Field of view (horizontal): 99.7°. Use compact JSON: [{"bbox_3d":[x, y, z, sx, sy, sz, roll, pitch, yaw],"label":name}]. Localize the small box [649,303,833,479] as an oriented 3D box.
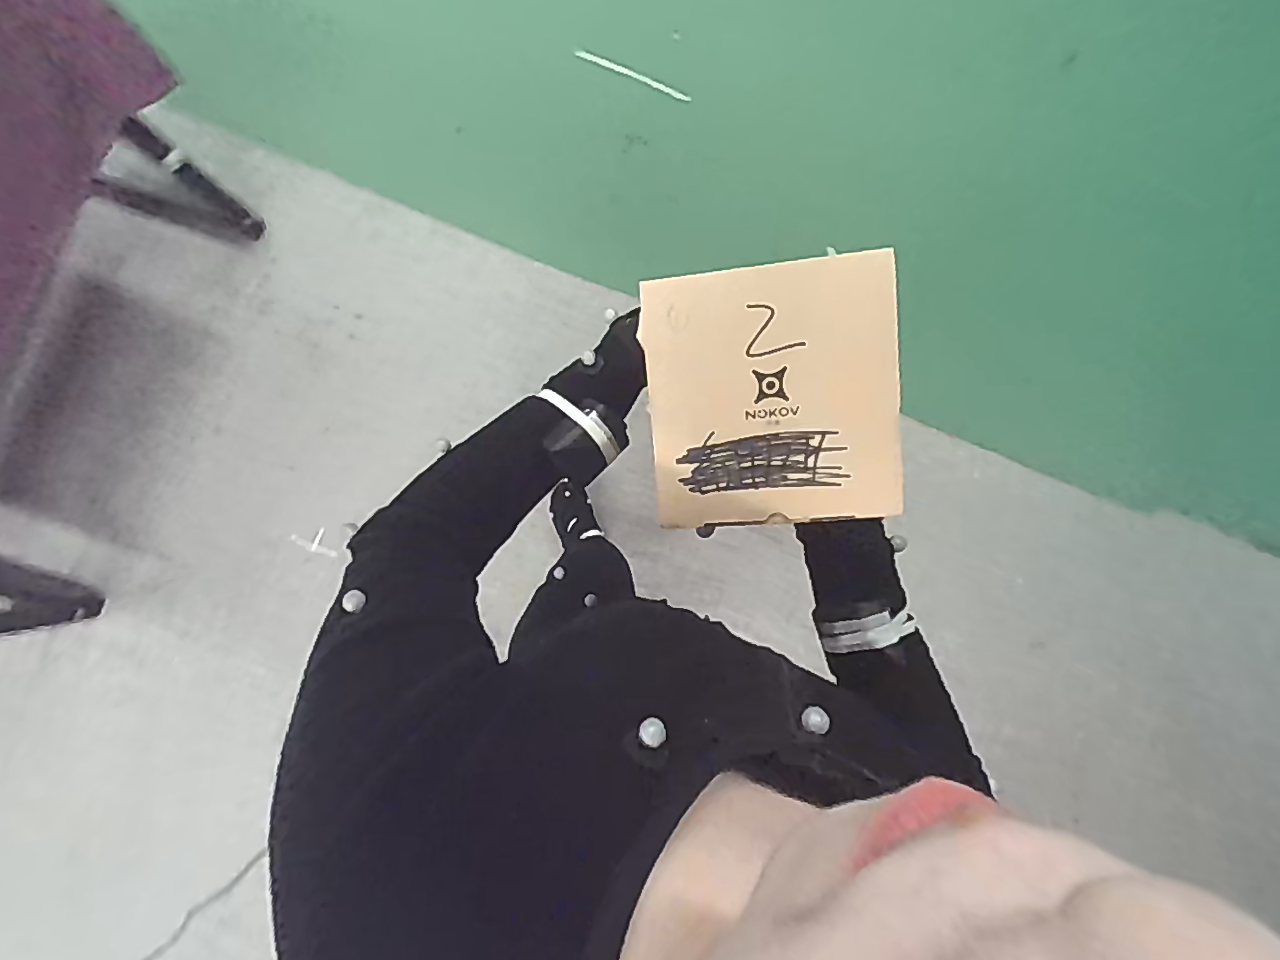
[{"bbox_3d":[0.113,-0.093,0.607,0.179,0.176,0.168,-2,98,10],"label":"small box"}]
